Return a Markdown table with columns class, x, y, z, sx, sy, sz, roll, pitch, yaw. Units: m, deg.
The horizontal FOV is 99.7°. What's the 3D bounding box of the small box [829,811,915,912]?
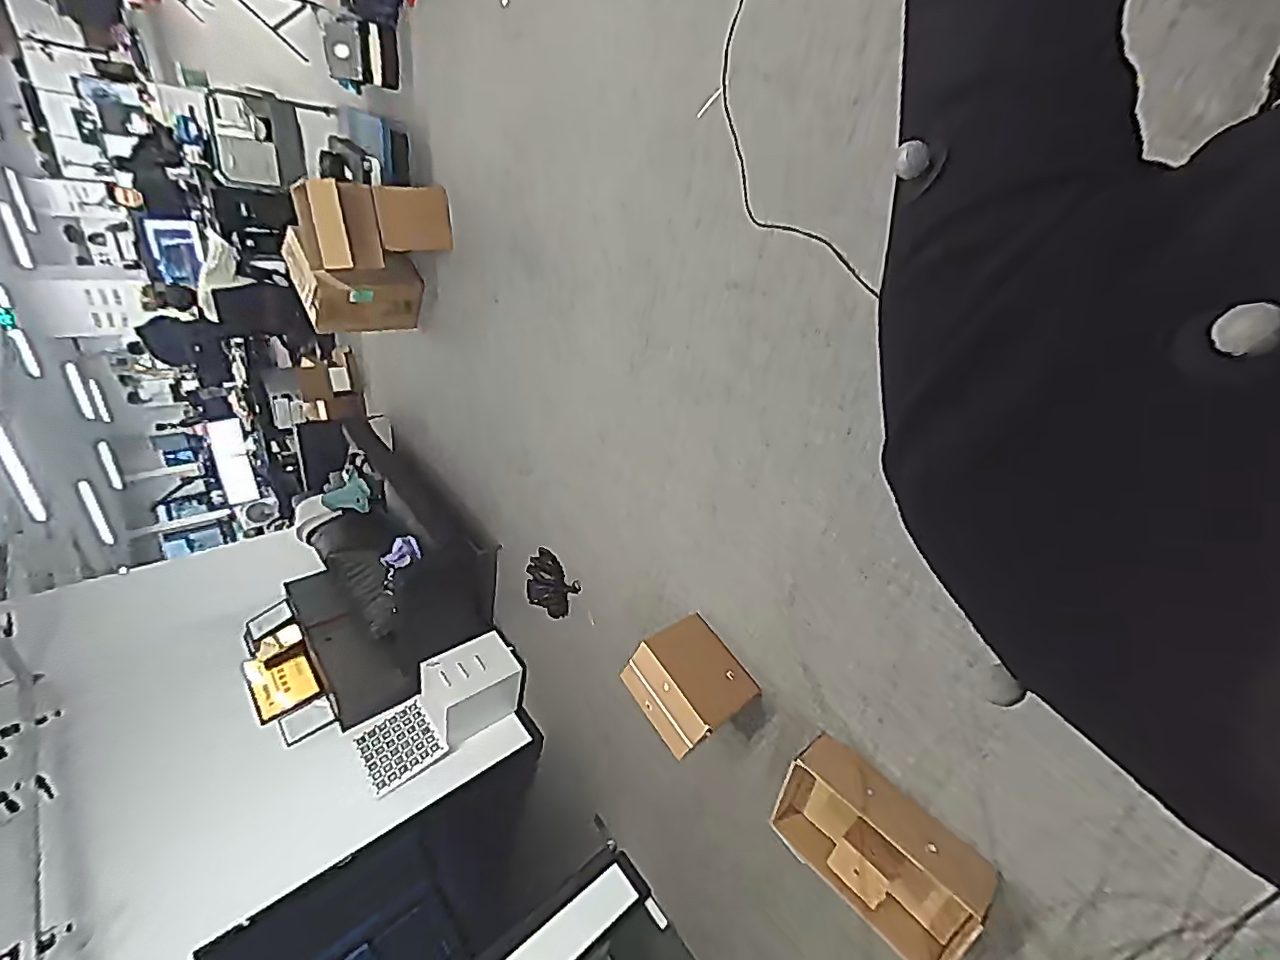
| class | x | y | z | sx | sy | sz | roll | pitch | yaw |
| --- | --- | --- | --- | --- | --- | --- | --- | --- | --- |
| small box | 0.755 | 1.229 | 1.755 | 0.179 | 0.176 | 0.168 | 34 | 127 | 39 |
